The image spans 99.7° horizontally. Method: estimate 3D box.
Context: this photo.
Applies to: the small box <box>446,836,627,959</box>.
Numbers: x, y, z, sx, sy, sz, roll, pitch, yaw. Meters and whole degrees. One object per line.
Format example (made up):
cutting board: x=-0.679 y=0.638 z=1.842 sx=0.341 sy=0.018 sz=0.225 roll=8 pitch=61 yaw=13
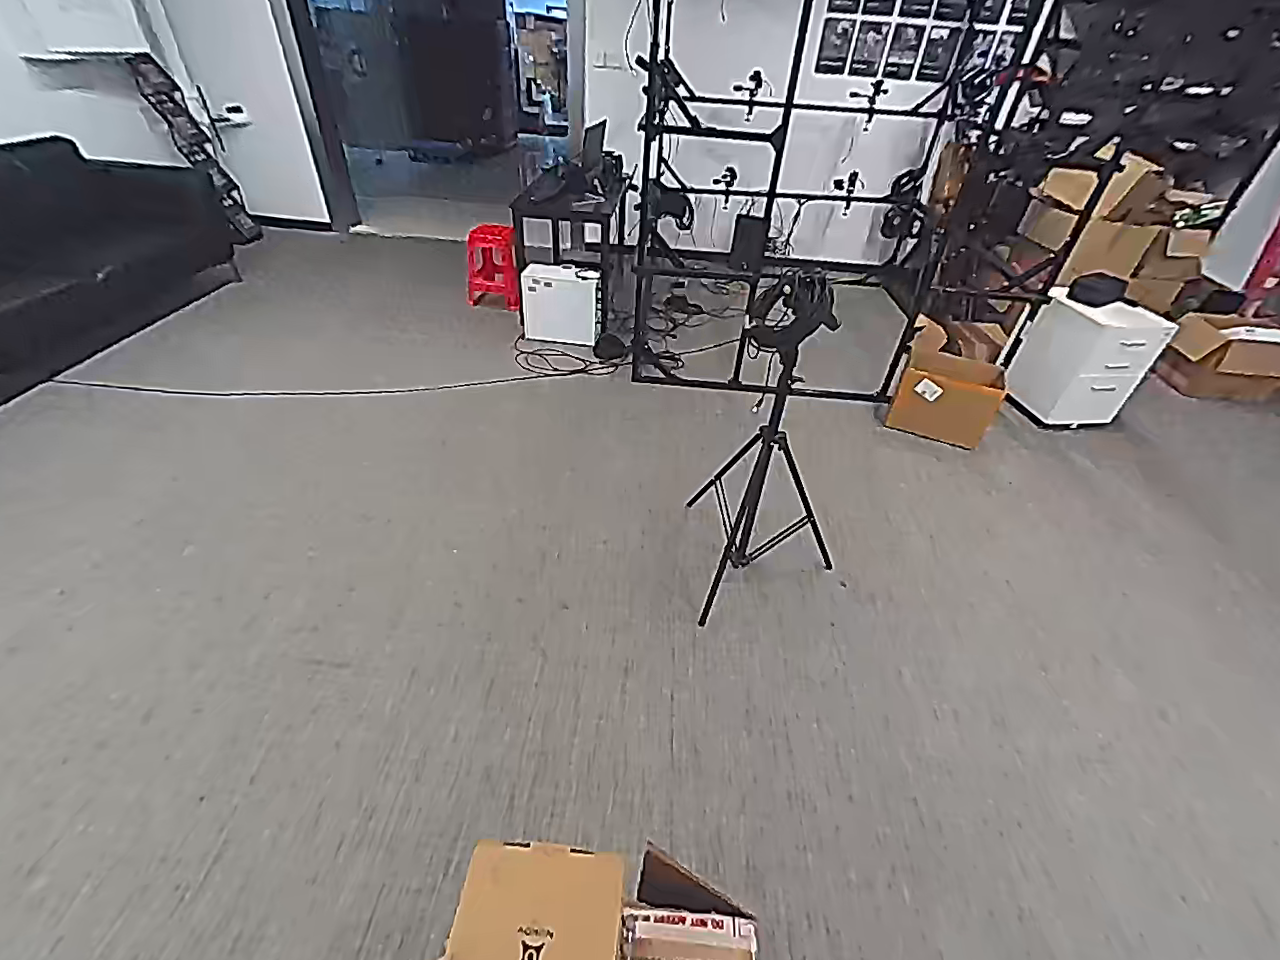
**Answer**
small box: x=-0.105 y=0.512 z=0.575 sx=0.168 sy=0.176 sz=0.179 roll=4 pitch=41 yaw=2
